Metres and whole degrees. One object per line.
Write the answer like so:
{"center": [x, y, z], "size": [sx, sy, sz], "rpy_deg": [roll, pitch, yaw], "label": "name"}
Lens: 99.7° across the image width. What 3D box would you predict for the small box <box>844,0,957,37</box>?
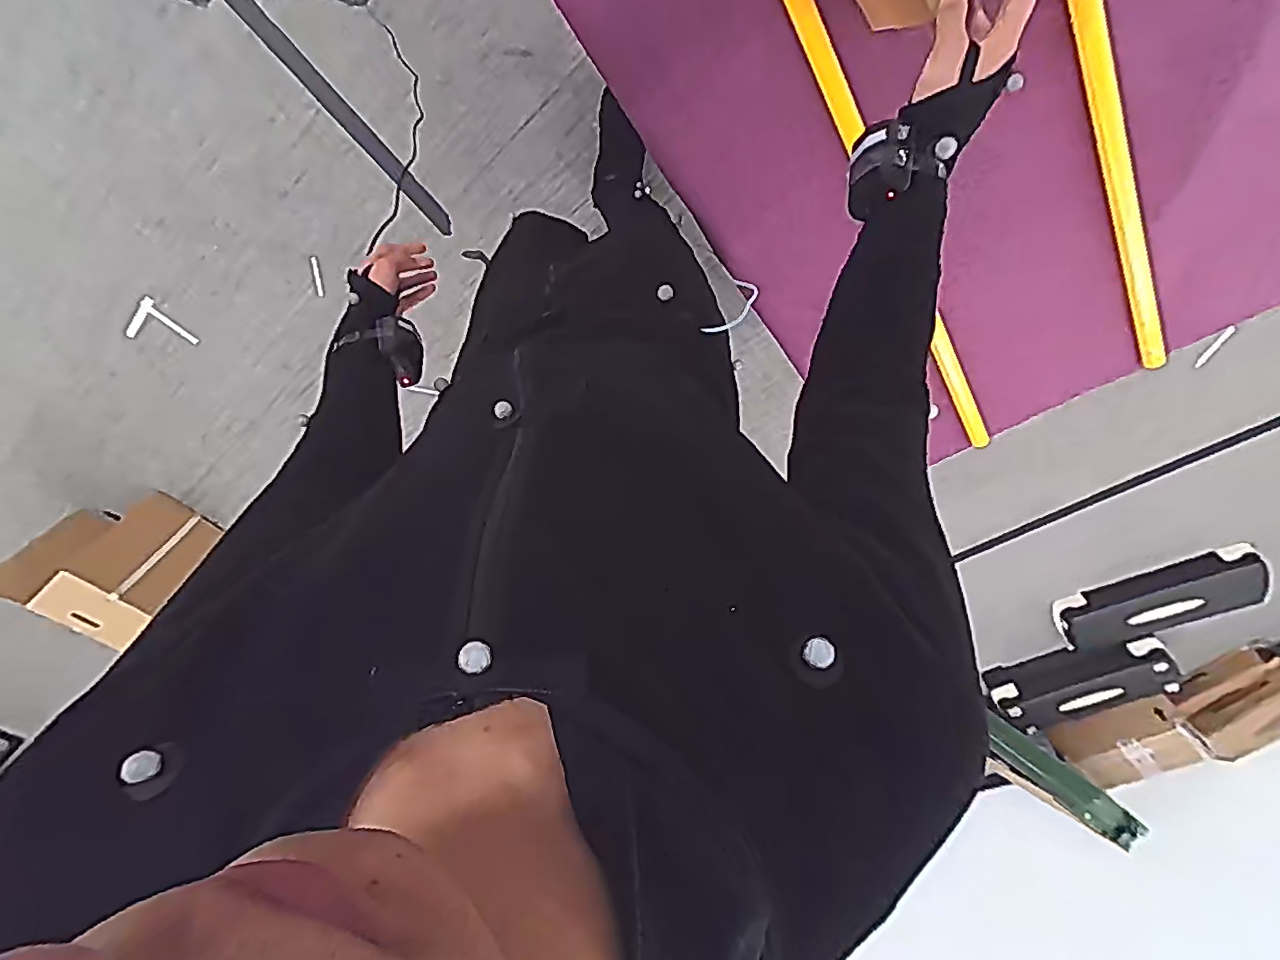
{"center": [0.240, -0.525, 0.454], "size": [0.168, 0.176, 0.179], "rpy_deg": [-37, 119, 28], "label": "small box"}
